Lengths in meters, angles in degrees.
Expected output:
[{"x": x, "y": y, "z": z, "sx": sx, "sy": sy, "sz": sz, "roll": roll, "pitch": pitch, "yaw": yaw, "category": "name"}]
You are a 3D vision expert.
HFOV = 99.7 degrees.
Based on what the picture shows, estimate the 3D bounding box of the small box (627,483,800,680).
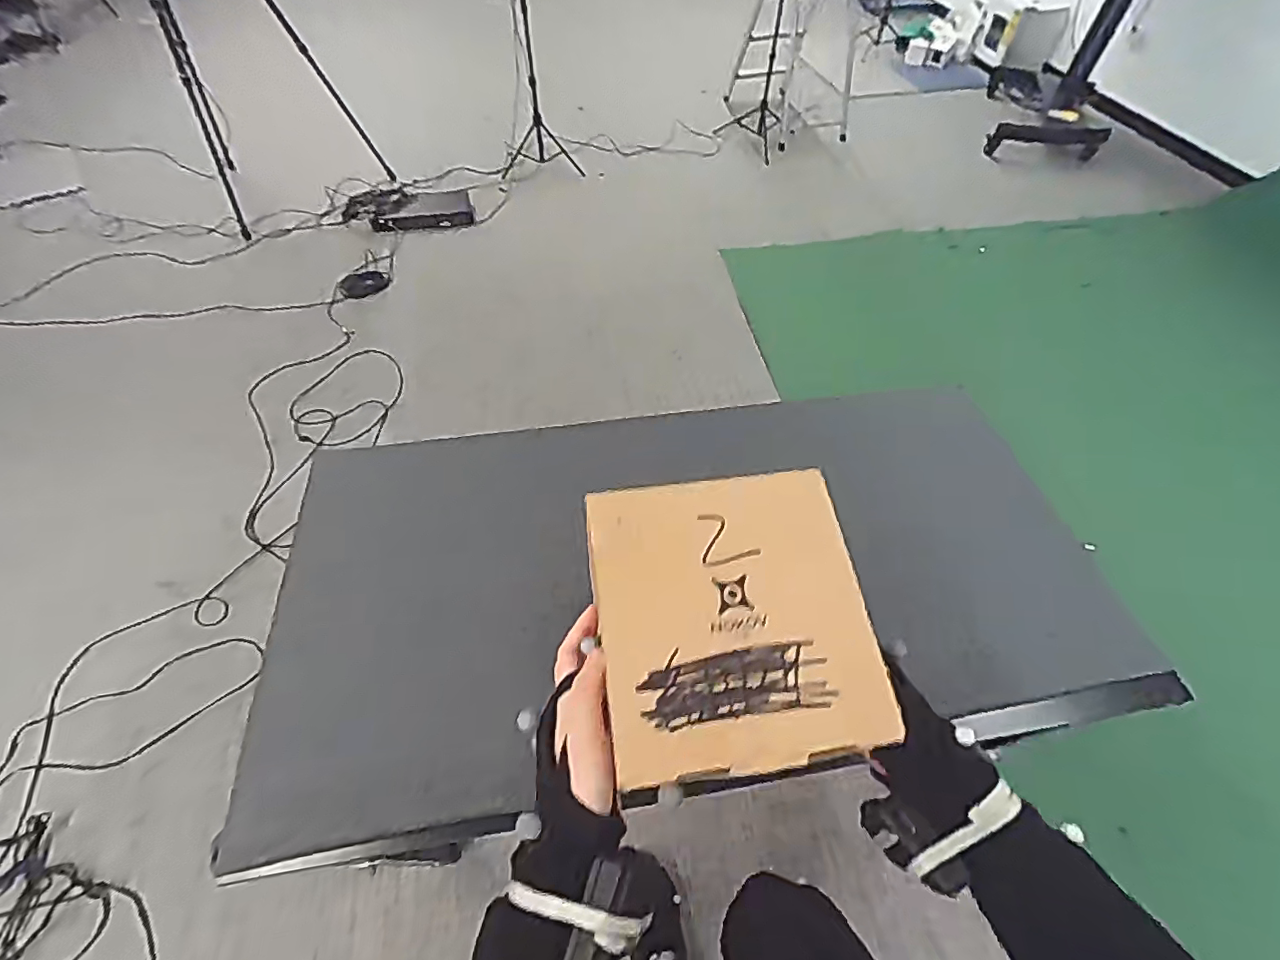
[{"x": 0.079, "y": 0.132, "z": 0.700, "sx": 0.168, "sy": 0.176, "sz": 0.179, "roll": -11, "pitch": 53, "yaw": -8, "category": "small box"}]
